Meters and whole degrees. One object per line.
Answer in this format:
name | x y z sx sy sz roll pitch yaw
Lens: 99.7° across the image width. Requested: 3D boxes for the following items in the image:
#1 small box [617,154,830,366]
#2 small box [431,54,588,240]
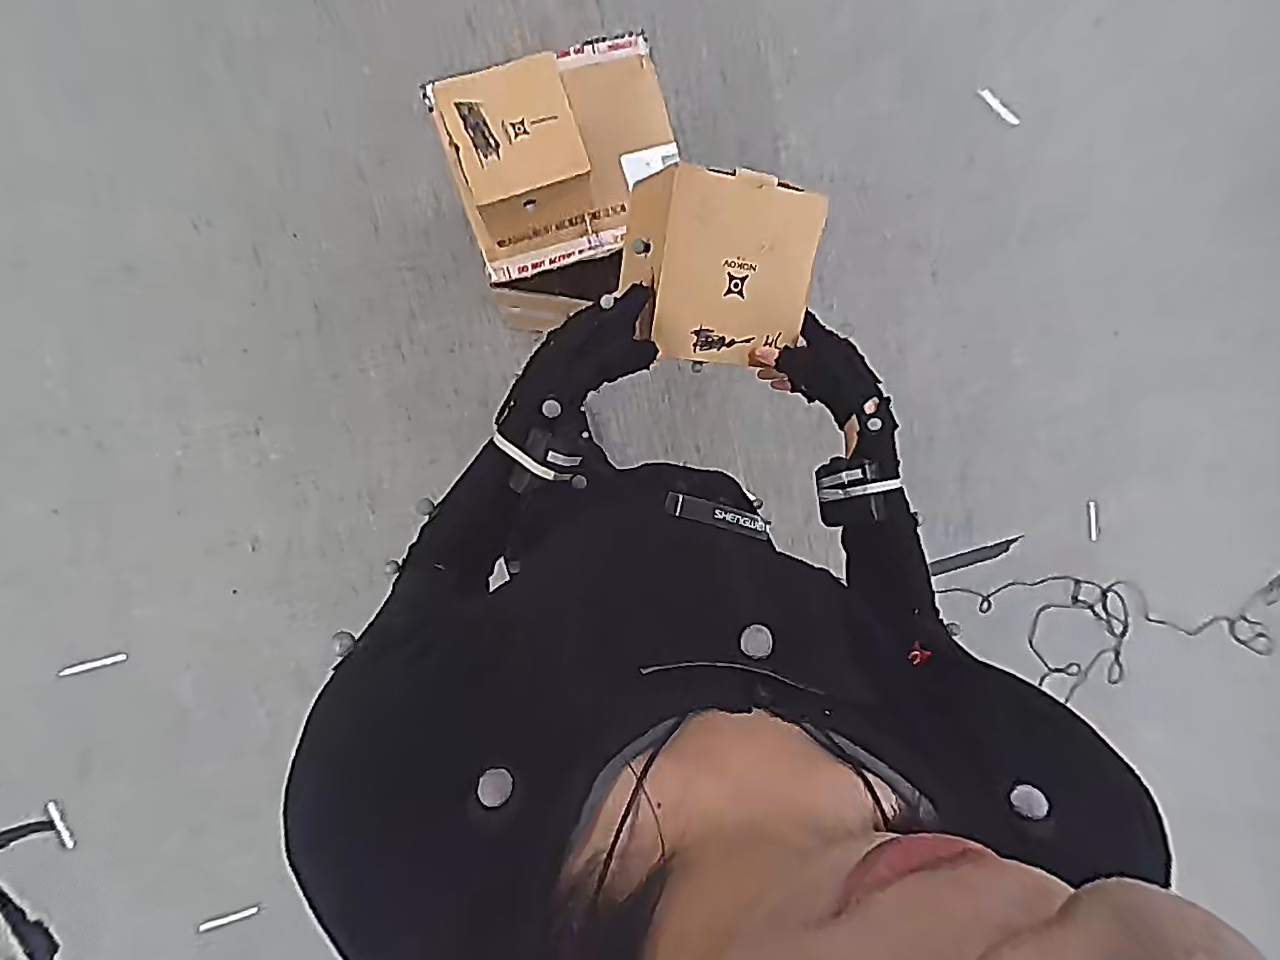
small box | 0.077 -0.236 0.604 0.168 0.176 0.179 2 112 -16
small box | -0.189 -0.493 0.829 0.179 0.176 0.168 -21 99 -6
